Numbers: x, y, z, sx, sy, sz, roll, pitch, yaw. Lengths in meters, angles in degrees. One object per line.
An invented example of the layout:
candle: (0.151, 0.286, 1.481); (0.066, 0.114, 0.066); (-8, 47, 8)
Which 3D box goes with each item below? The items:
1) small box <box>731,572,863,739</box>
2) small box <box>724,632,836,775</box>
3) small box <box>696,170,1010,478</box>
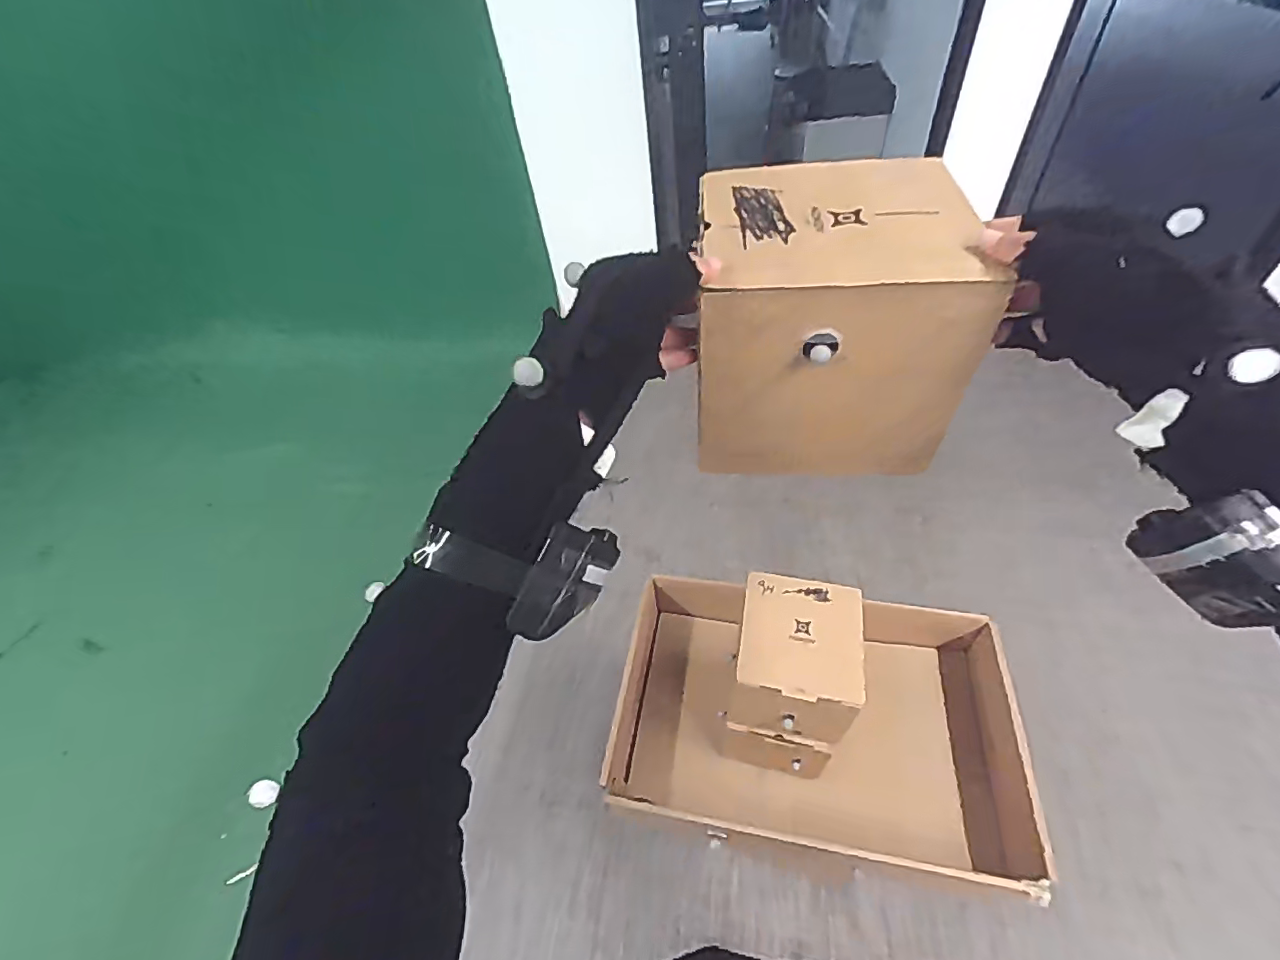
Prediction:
small box: (0.231, 0.268, 0.816); (0.168, 0.176, 0.179); (8, 51, 11)
small box: (0.239, 0.383, 0.933); (0.168, 0.176, 0.179); (8, 48, 12)
small box: (0.135, -0.115, 0.419); (0.179, 0.176, 0.168); (1, 51, 7)
